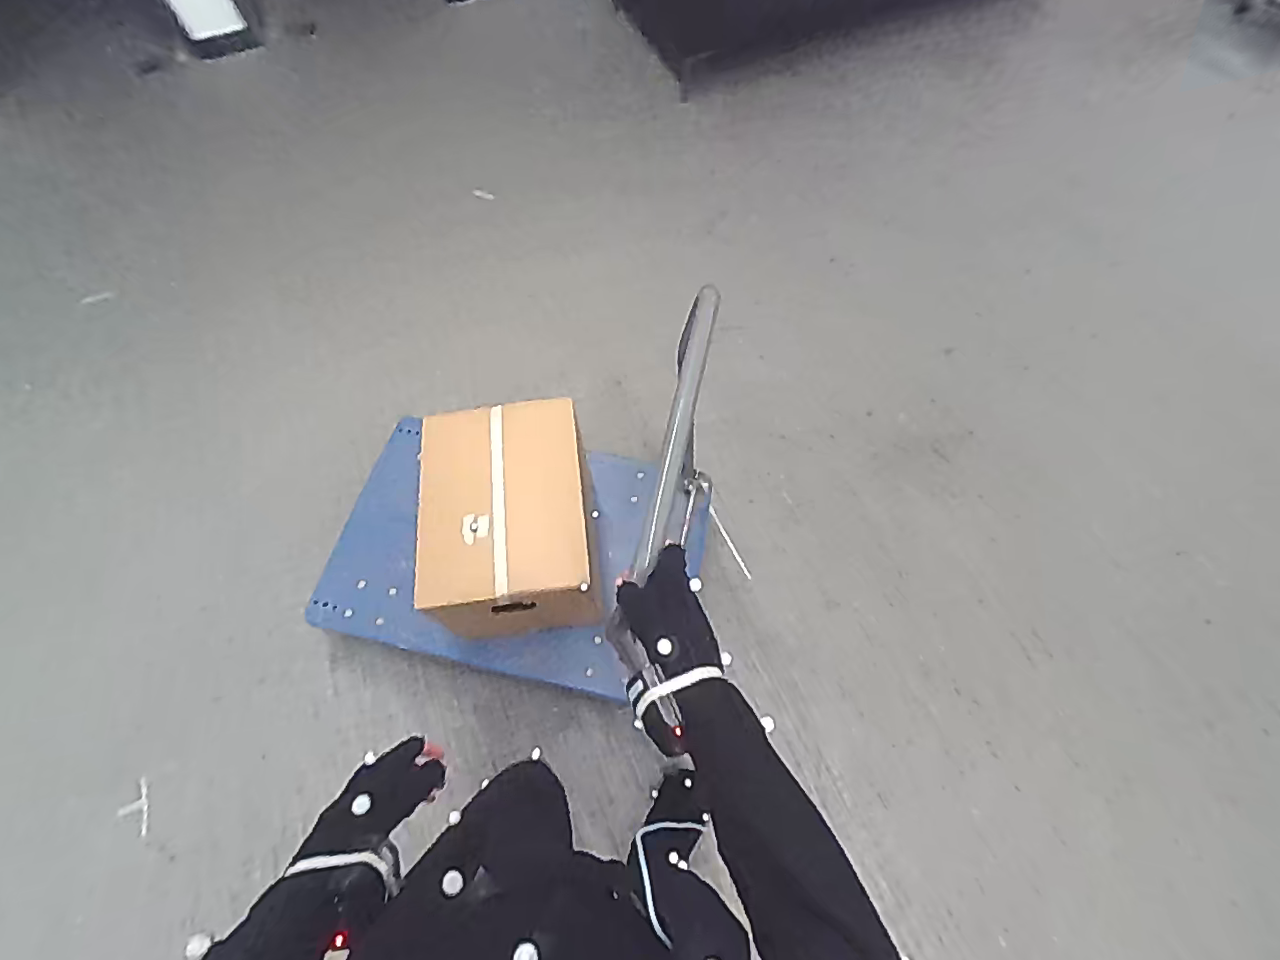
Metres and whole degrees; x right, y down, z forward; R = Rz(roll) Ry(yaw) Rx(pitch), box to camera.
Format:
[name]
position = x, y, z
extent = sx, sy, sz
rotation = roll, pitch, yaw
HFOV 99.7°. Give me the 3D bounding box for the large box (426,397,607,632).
[large box]
position = -0.254, 0.085, 1.177
extent = 0.320, 0.320, 0.408
rotation = -8, 65, -2
